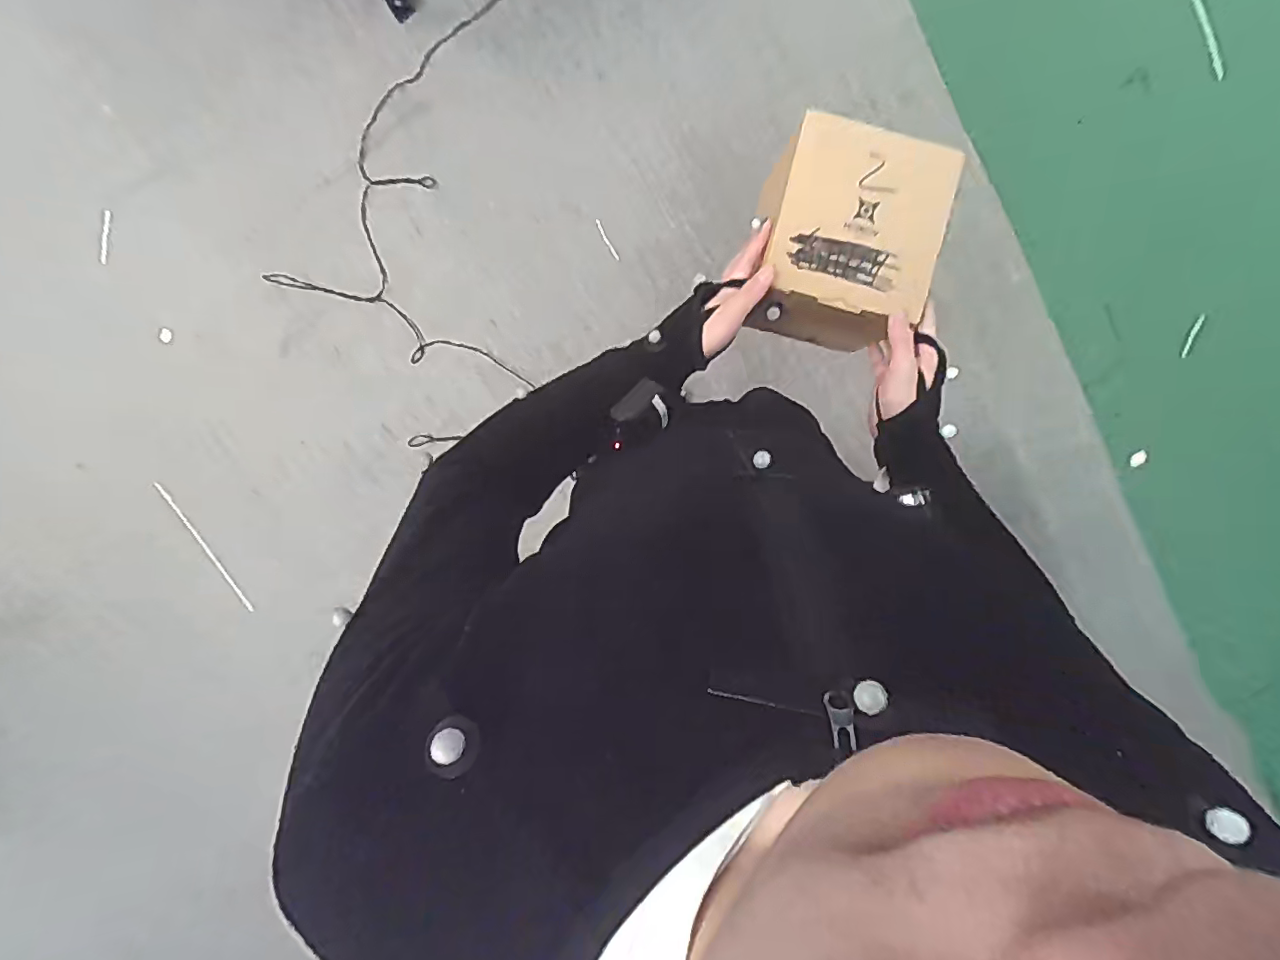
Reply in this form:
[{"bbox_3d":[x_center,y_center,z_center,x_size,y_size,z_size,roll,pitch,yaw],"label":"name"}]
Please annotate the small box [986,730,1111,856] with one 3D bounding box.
[{"bbox_3d":[0.804,0.591,1.042,0.168,0.176,0.179,-32,96,6],"label":"small box"}]
